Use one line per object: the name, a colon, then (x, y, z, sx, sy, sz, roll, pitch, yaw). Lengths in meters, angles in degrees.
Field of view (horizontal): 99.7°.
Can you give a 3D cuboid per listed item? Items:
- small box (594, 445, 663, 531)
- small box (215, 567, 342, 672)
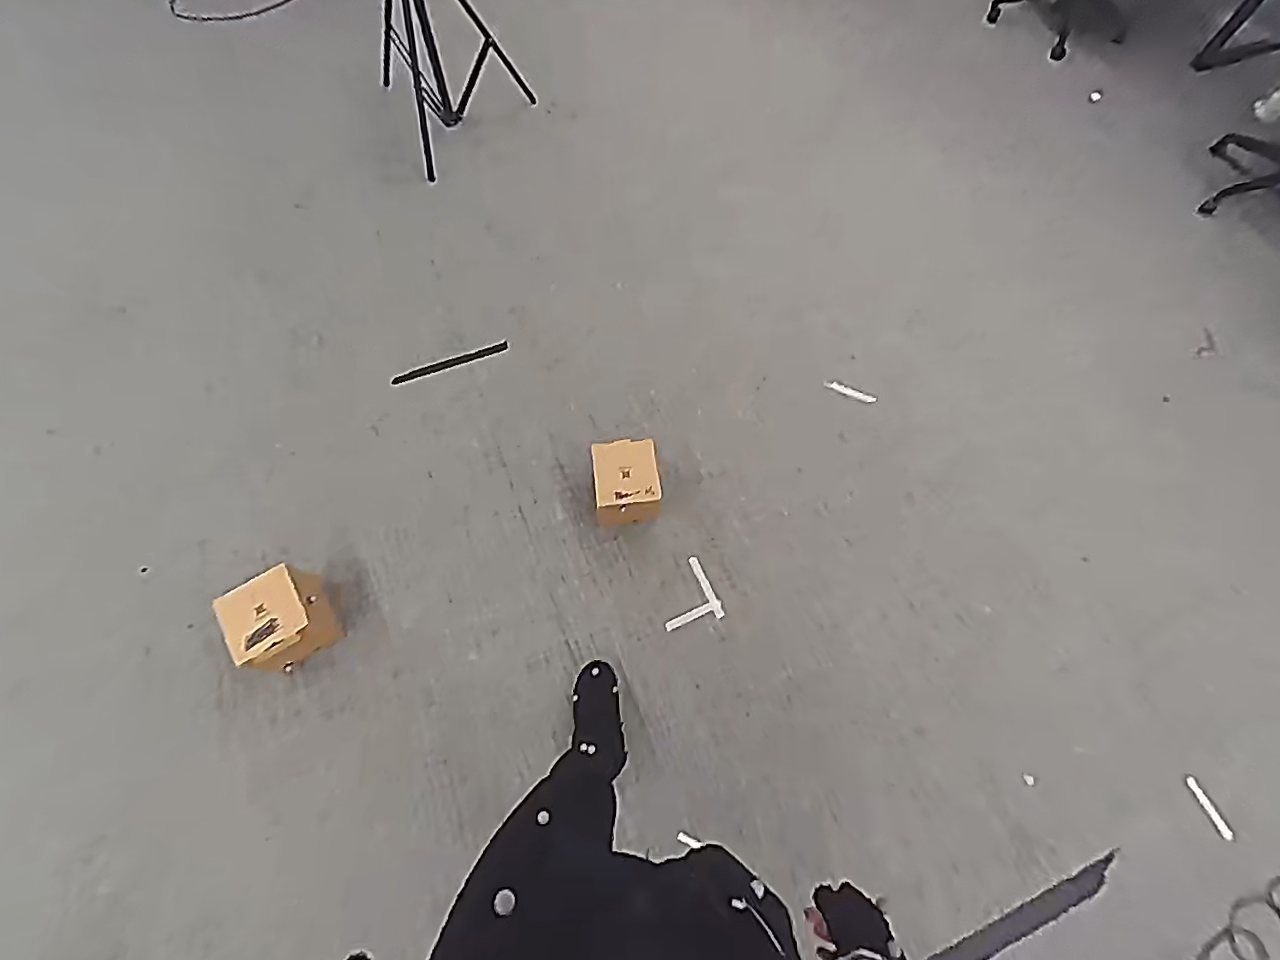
small box: (-0.038, 0.024, 1.463, 0.168, 0.176, 0.179, -6, 66, -6)
small box: (-0.844, 0.338, 1.280, 0.168, 0.176, 0.179, -31, 70, -15)
